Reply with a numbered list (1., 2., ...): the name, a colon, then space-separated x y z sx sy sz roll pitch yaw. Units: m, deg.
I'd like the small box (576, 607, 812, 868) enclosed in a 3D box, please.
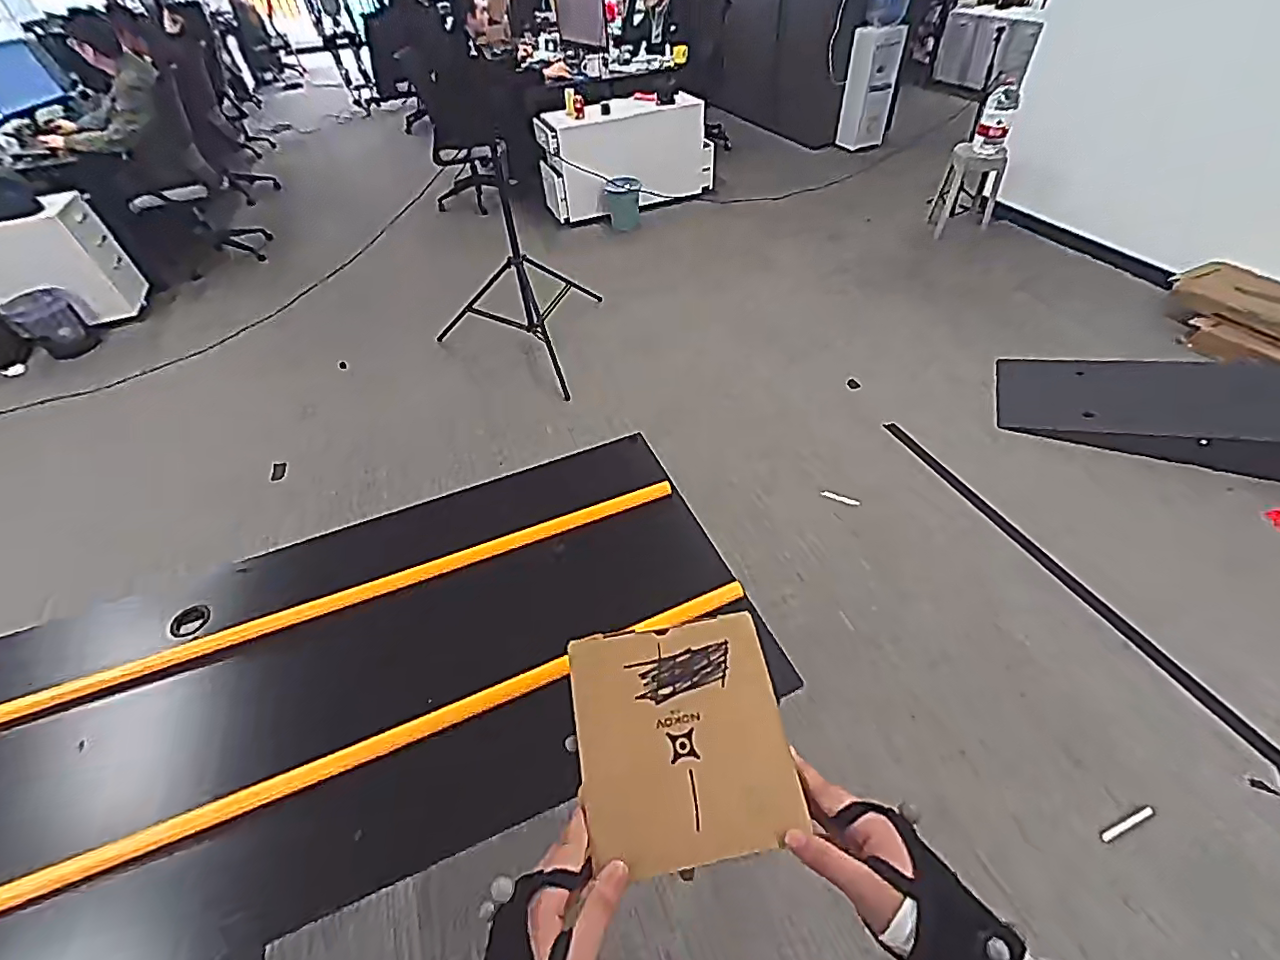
1. small box: 0.033 0.241 0.508 0.168 0.176 0.179 -8 59 -7
